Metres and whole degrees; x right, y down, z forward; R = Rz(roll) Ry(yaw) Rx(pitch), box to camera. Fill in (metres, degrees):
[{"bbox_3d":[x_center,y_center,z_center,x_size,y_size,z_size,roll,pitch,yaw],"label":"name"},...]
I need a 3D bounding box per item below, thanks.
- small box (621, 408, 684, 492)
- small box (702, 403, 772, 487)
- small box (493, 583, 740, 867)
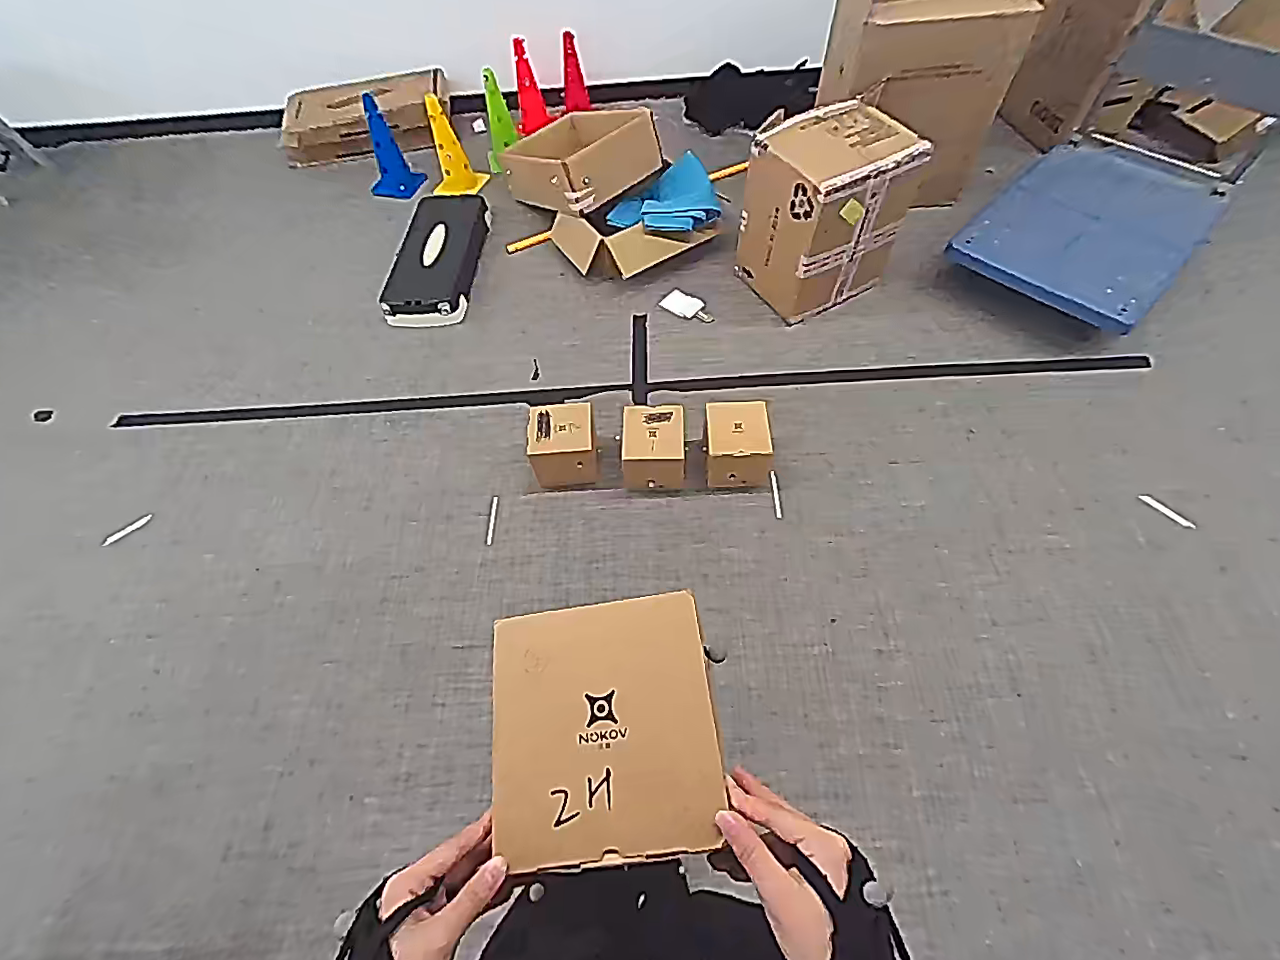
[{"bbox_3d":[0.037,-0.083,1.515,0.168,0.176,0.179,0,60,3],"label":"small box"},{"bbox_3d":[0.264,-0.096,1.513,0.168,0.176,0.179,-2,59,2],"label":"small box"},{"bbox_3d":[-0.014,0.205,0.460,0.168,0.176,0.179,-10,62,4],"label":"small box"}]
